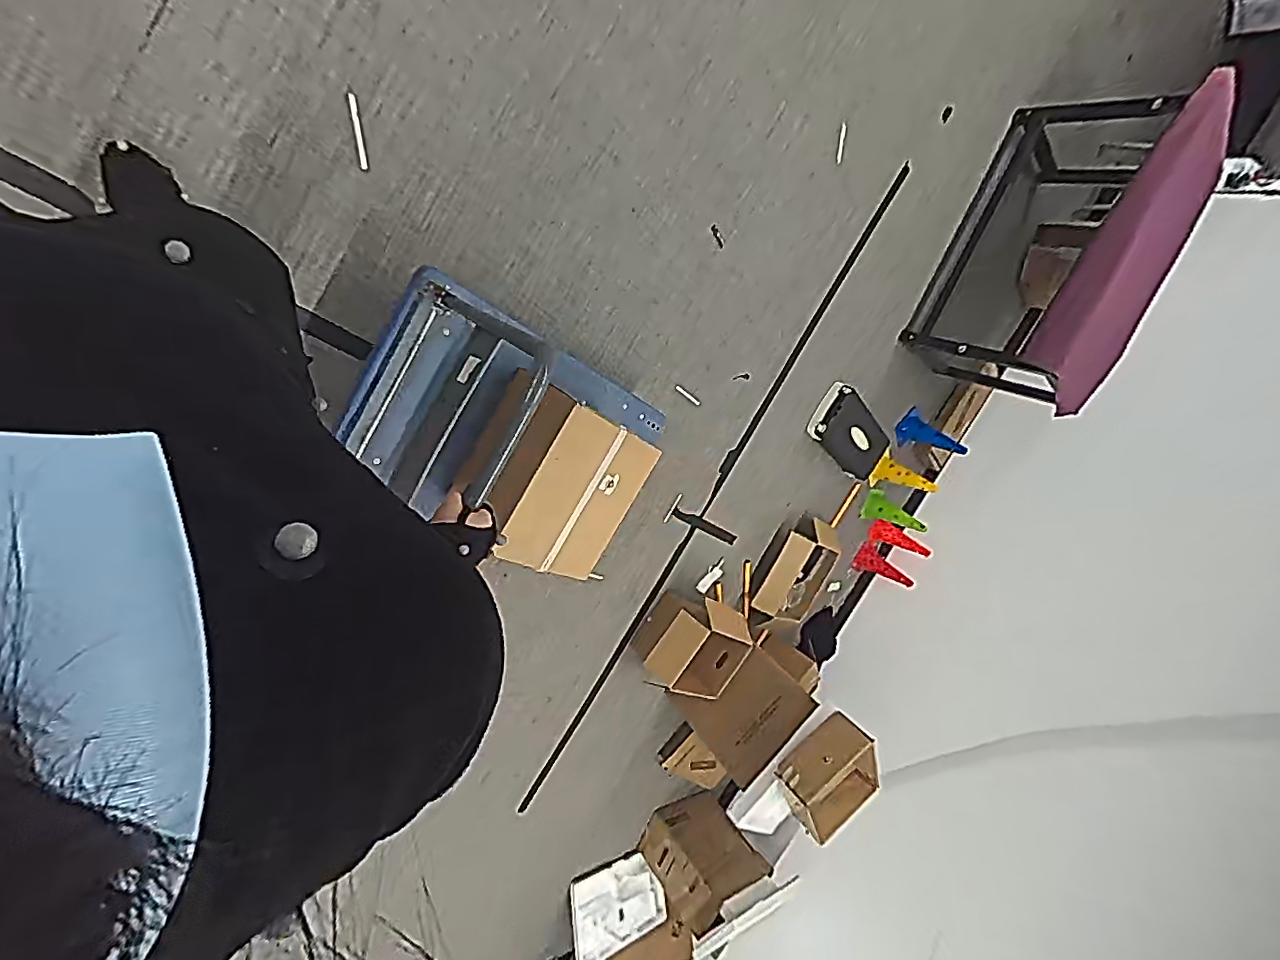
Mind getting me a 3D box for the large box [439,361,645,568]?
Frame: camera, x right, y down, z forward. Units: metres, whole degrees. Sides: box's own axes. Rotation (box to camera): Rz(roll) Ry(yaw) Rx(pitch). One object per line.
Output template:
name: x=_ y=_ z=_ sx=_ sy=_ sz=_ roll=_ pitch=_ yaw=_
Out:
large box: x=-0.264 y=-0.039 z=1.424 sx=0.320 sy=0.320 sz=0.408 roll=27 pitch=95 yaw=-45
